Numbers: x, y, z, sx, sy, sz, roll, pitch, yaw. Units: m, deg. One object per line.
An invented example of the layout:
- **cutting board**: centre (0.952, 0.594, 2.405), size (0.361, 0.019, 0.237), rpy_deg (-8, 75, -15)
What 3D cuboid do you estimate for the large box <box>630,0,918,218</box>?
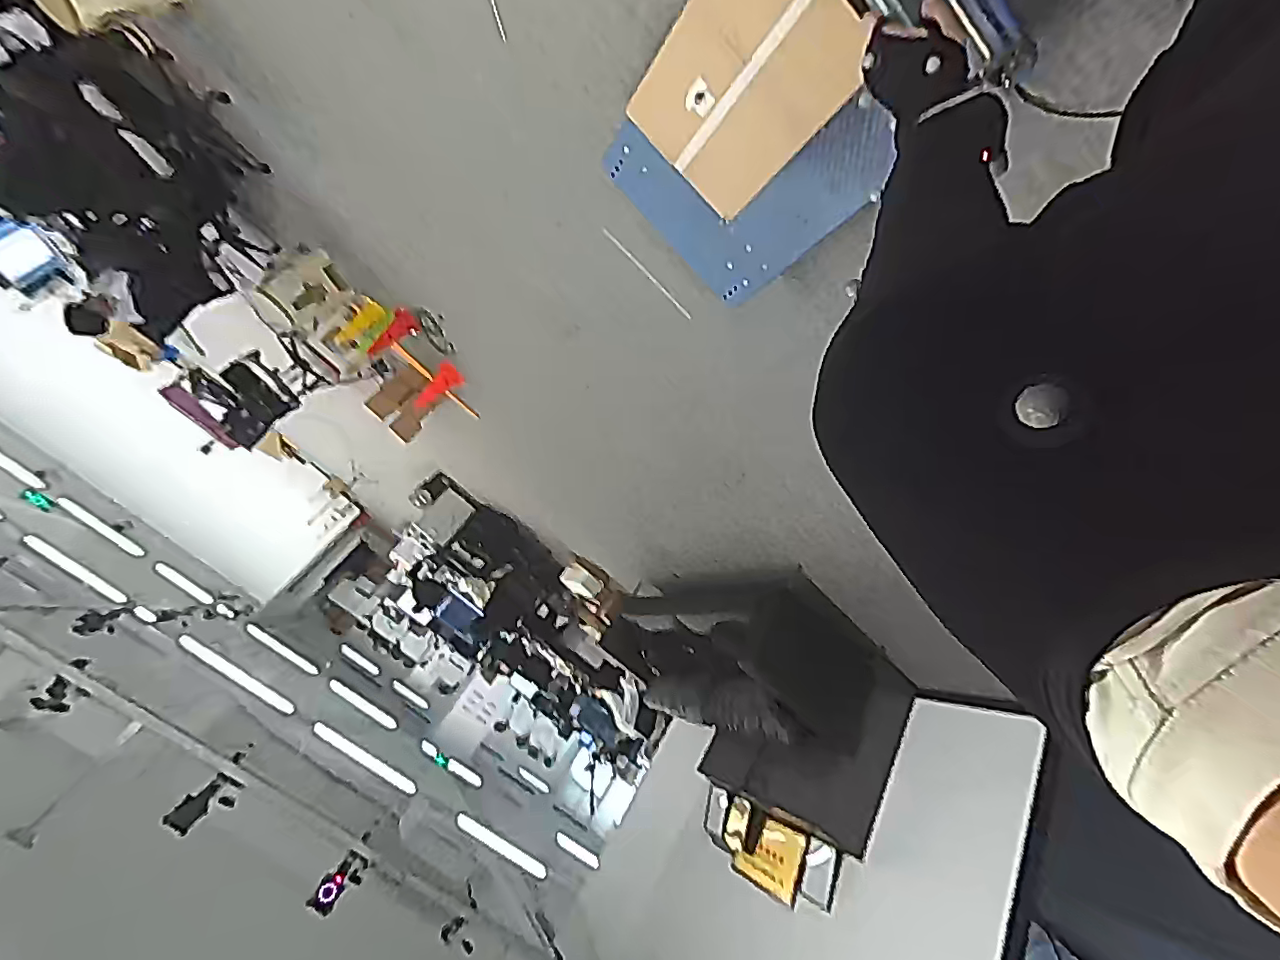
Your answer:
- **large box**: centre (0.254, -0.831, 1.061), size (0.320, 0.320, 0.408), rpy_deg (42, 146, -13)
